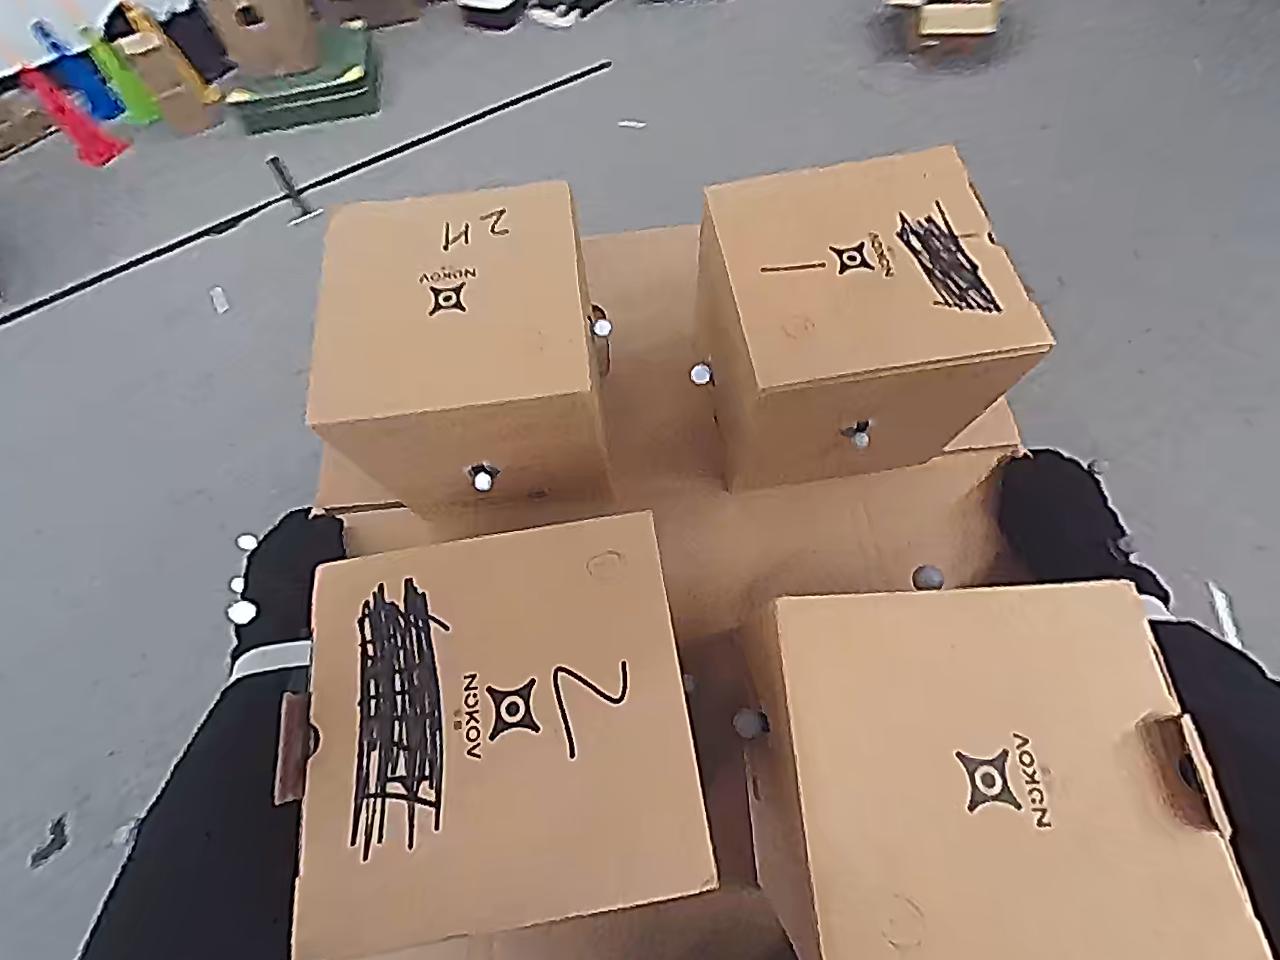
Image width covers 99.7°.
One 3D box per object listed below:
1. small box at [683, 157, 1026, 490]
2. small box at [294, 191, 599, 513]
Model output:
[{"bbox_3d":[0.132,-0.104,0.415,0.179,0.176,0.168,-9,68,0],"label":"small box"},{"bbox_3d":[-0.126,-0.082,0.417,0.168,0.176,0.179,-7,67,-2],"label":"small box"}]
